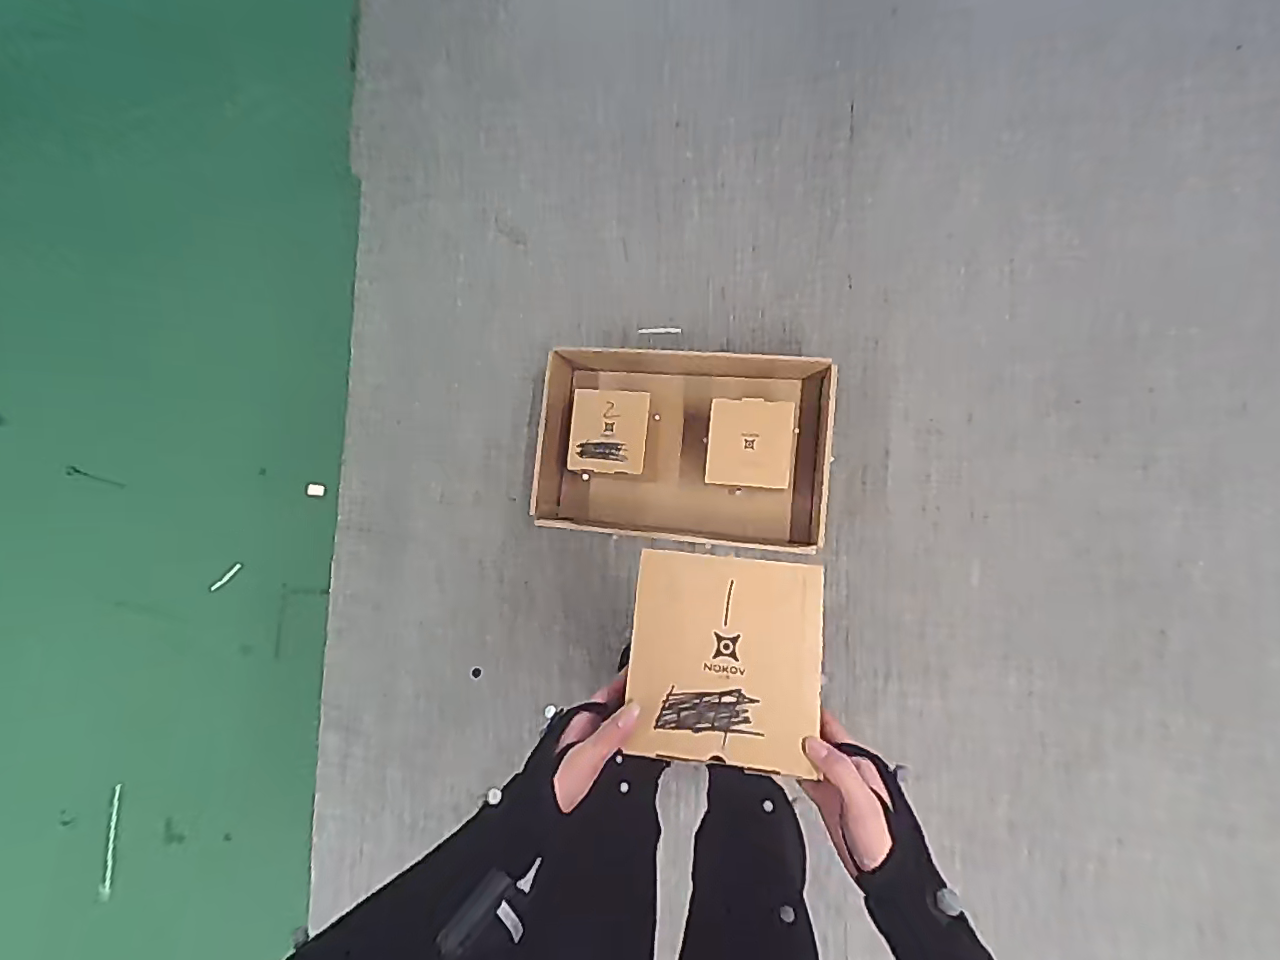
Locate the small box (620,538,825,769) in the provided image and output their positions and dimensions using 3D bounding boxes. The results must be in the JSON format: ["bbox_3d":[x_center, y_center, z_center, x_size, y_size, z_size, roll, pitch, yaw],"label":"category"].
[{"bbox_3d":[0.081,0.164,0.544,0.168,0.176,0.179,5,75,6],"label":"small box"}]

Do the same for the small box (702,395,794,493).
[{"bbox_3d":[0.228,-0.072,1.147,0.168,0.176,0.179,5,86,12],"label":"small box"}]
